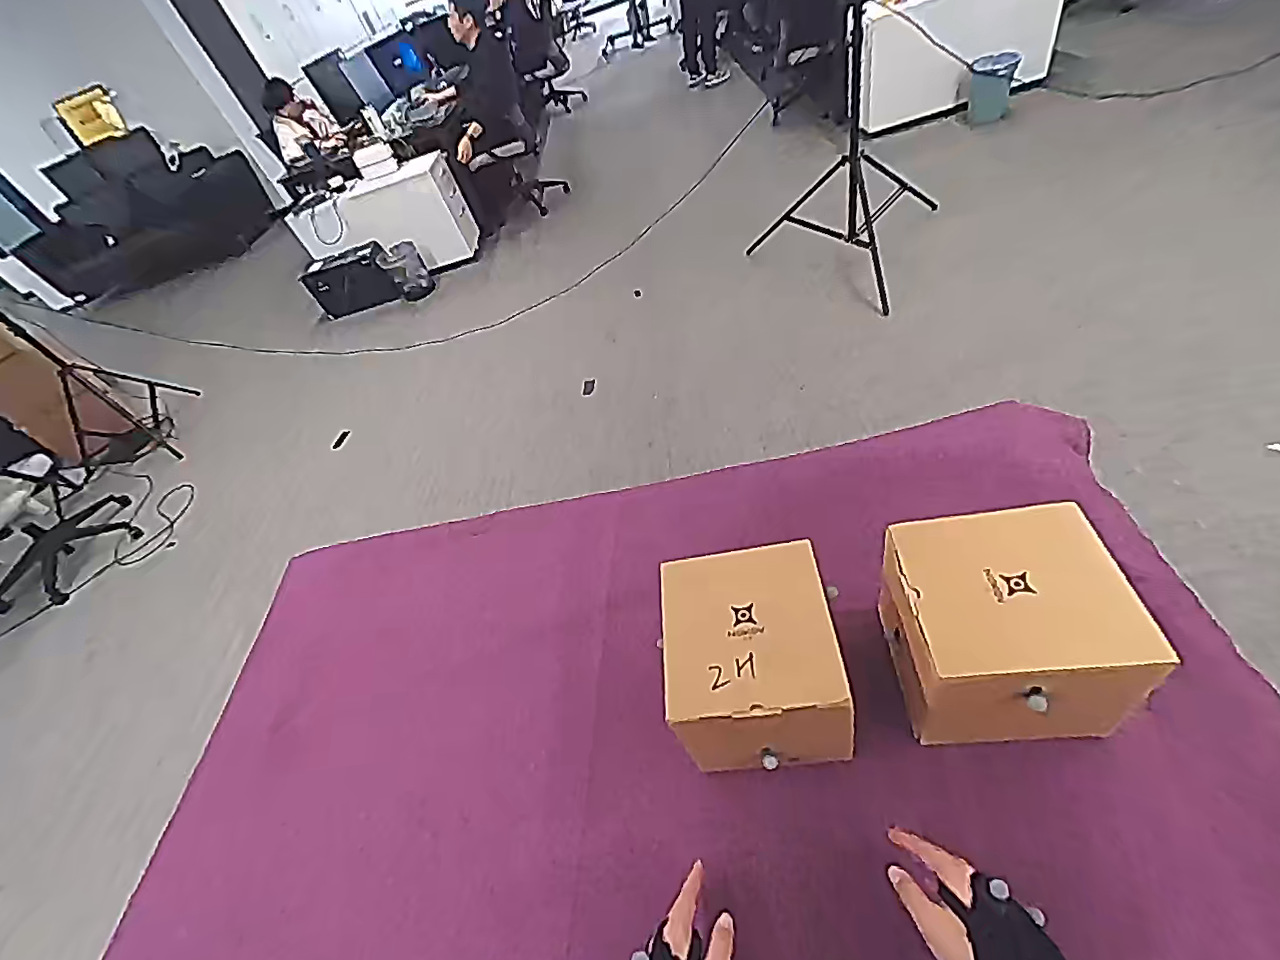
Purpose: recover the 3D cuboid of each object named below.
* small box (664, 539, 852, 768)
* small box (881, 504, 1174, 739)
[{"bbox_3d":[0.124,0.192,0.590,0.168,0.176,0.179,-11,46,12],"label":"small box"},{"bbox_3d":[0.357,0.148,0.546,0.179,0.176,0.168,-9,45,13],"label":"small box"}]
